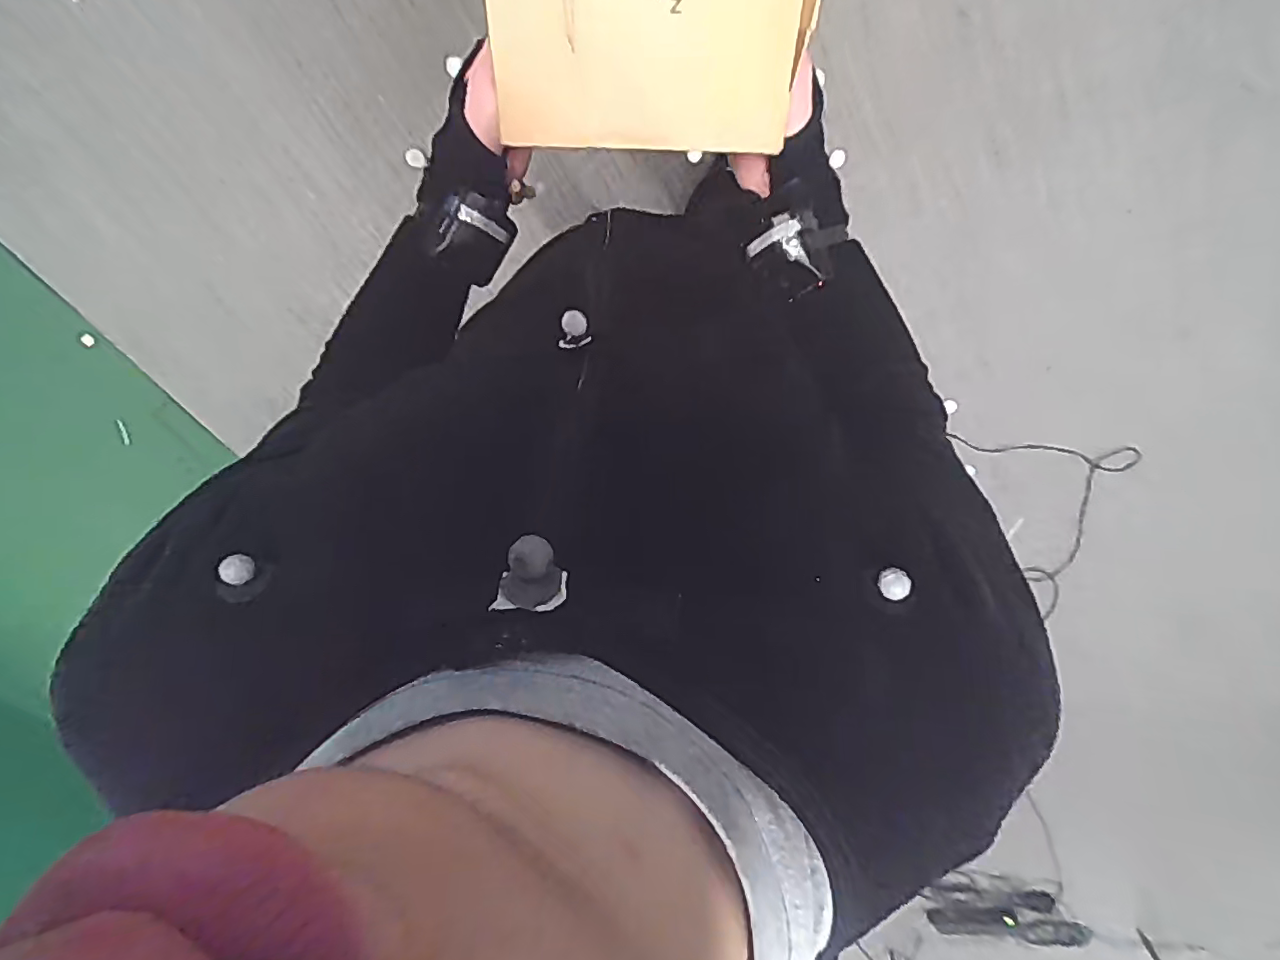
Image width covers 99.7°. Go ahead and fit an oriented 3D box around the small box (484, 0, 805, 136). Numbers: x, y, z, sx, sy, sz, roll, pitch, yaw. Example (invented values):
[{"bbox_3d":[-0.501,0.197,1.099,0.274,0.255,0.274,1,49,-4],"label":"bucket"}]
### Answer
[{"bbox_3d":[0.000,-0.325,0.335,0.179,0.176,0.168,0,130,-3],"label":"small box"}]
